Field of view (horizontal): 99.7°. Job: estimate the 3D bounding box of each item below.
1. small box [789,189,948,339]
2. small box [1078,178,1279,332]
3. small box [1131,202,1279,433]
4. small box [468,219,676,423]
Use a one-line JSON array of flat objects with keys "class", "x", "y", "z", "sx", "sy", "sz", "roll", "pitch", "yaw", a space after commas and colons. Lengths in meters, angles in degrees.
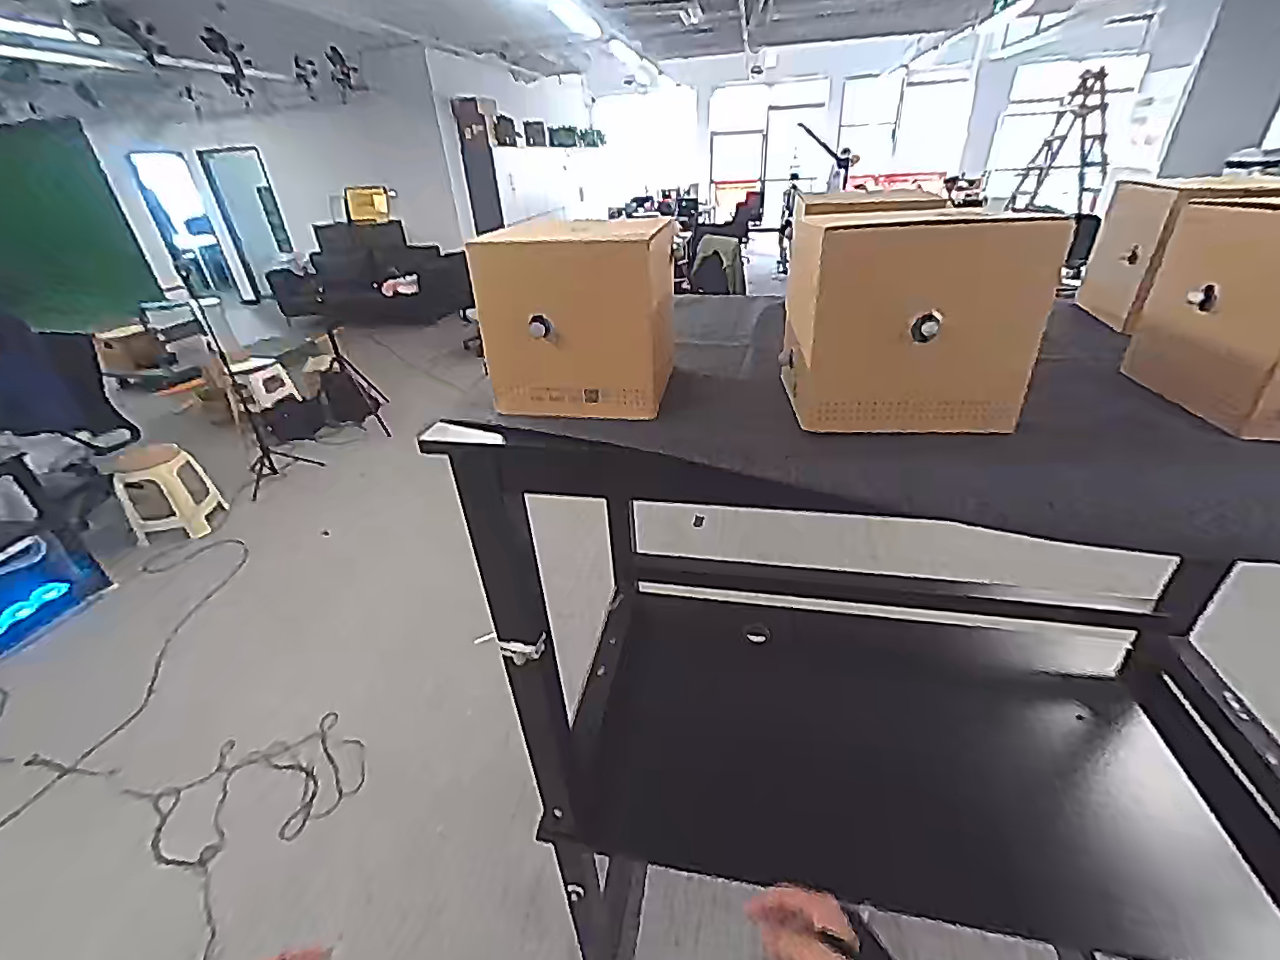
[{"class": "small box", "x": 0.303, "y": -0.302, "z": 0.758, "sx": 0.168, "sy": 0.176, "sz": 0.179, "roll": 4, "pitch": 32, "yaw": 10}, {"class": "small box", "x": 0.710, "y": -0.282, "z": 0.689, "sx": 0.168, "sy": 0.176, "sz": 0.179, "roll": 7, "pitch": 32, "yaw": 15}, {"class": "small box", "x": 0.573, "y": -0.135, "z": 0.448, "sx": 0.168, "sy": 0.176, "sz": 0.179, "roll": 3, "pitch": 29, "yaw": 12}, {"class": "small box", "x": -0.052, "y": -0.168, "z": 0.565, "sx": 0.168, "sy": 0.176, "sz": 0.179, "roll": 3, "pitch": 31, "yaw": 9}]
